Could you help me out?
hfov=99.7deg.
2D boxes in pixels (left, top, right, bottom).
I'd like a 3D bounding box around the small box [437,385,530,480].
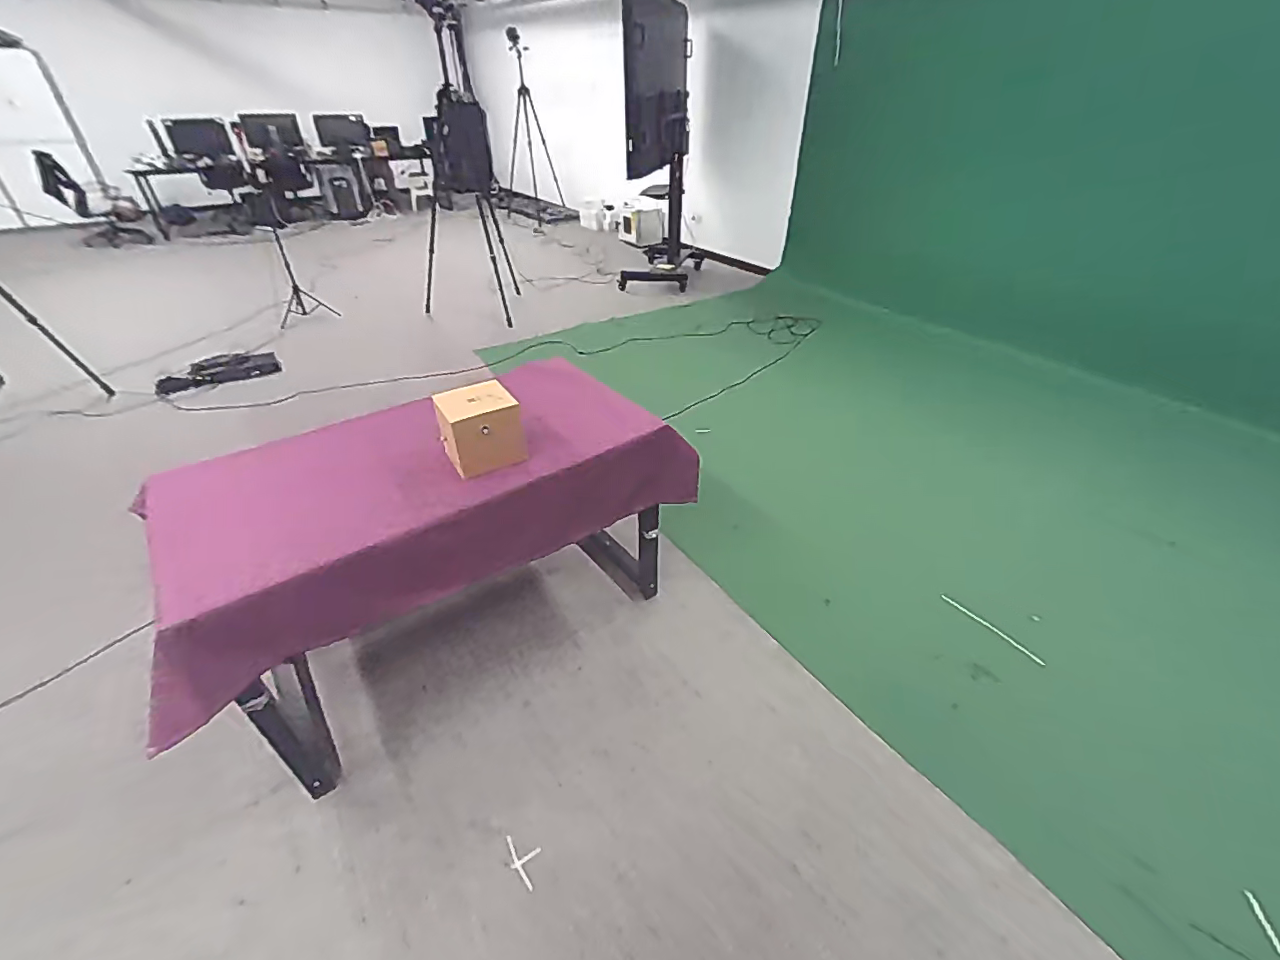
[{"bbox_3d":[-0.403,-0.122,1.405,0.179,0.176,0.168,-20,41,-25],"label":"small box"}]
